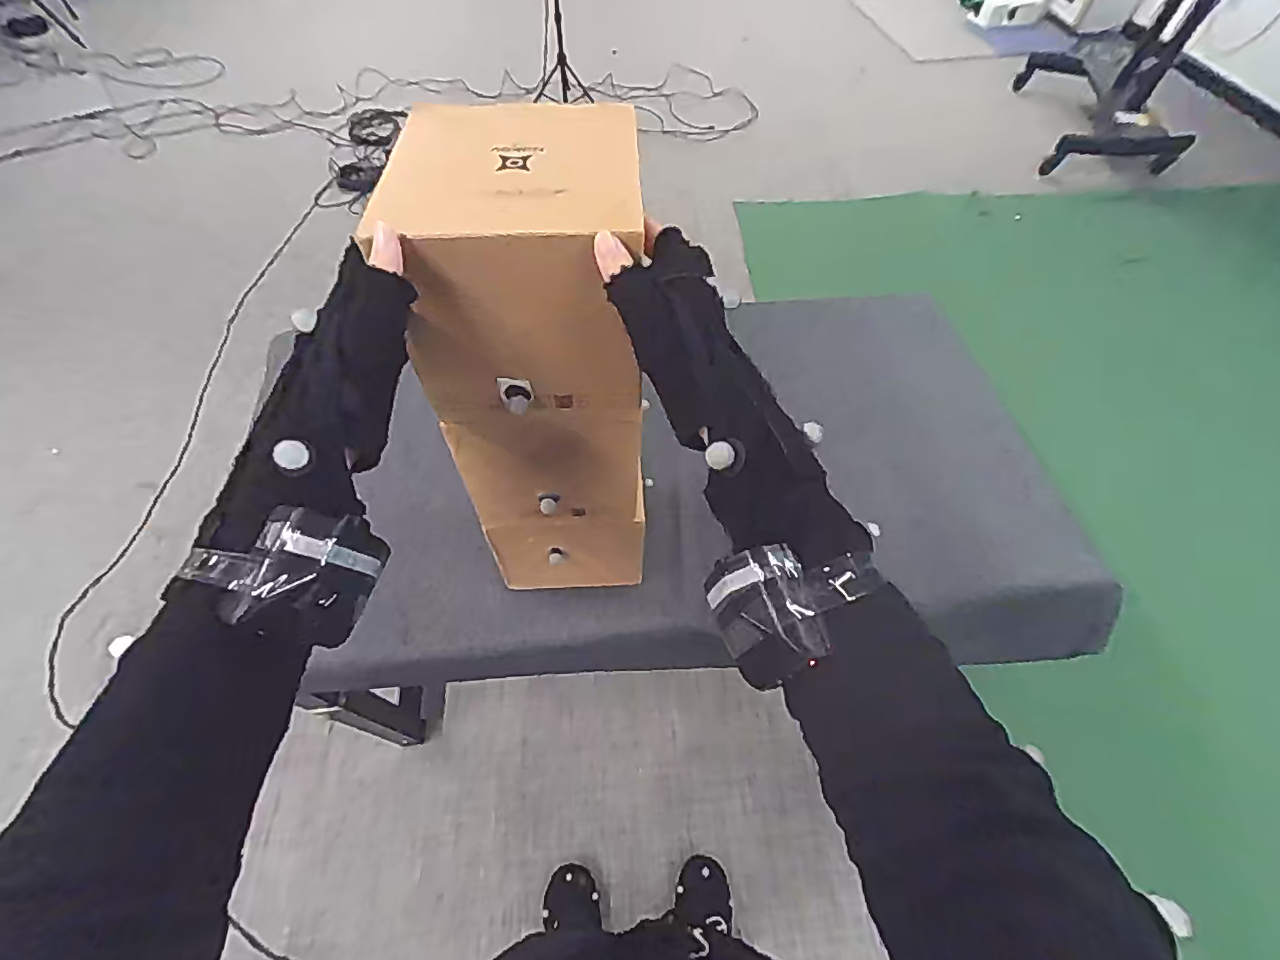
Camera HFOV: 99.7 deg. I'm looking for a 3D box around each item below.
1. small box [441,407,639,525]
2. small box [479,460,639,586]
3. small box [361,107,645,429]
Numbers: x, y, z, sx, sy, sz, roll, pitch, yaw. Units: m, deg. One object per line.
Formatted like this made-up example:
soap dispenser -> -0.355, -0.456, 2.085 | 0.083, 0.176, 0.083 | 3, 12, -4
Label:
small box -> -0.089, -0.070, 0.559 | 0.168, 0.176, 0.179 | -1, 56, -3
small box -> -0.091, 0.028, 0.691 | 0.179, 0.176, 0.168 | -1, 56, -2
small box -> -0.082, -0.161, 0.423 | 0.168, 0.176, 0.179 | 0, 55, -2
